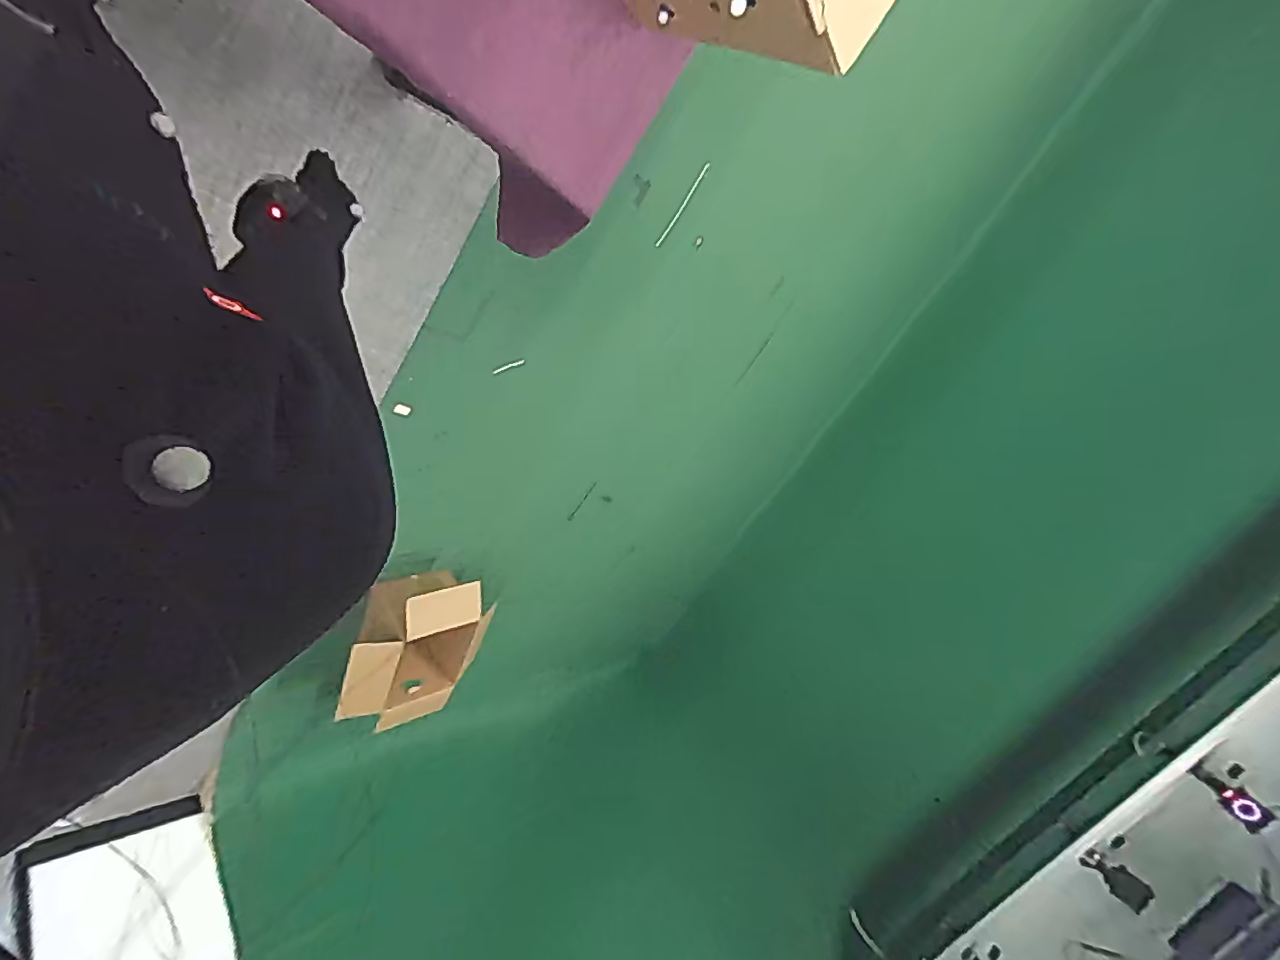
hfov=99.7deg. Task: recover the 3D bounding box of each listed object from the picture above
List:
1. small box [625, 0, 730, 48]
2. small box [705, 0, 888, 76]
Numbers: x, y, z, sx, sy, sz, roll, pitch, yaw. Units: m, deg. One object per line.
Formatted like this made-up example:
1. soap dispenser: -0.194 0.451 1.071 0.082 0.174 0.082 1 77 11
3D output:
1. small box: 0.054 -0.635 0.595 0.179 0.176 0.168 -55 148 13
2. small box: 0.152 -0.538 0.506 0.179 0.176 0.168 -54 149 14
